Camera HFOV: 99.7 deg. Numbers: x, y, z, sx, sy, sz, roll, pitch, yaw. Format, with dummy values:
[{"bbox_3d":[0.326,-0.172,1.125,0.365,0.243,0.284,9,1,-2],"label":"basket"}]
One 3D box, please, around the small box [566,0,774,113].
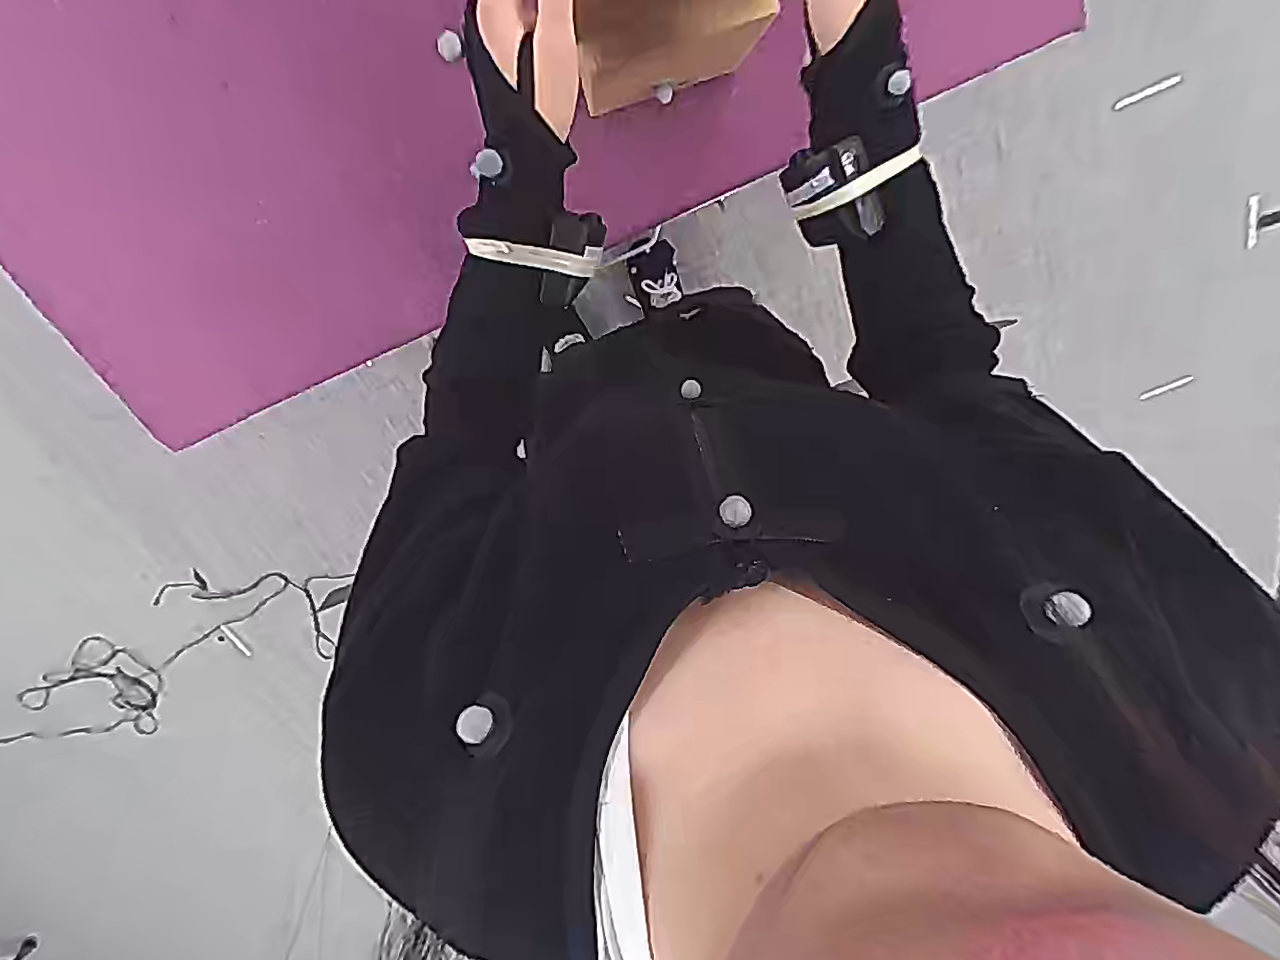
[{"bbox_3d":[0.004,-0.466,0.486,0.168,0.176,0.179,-16,115,2],"label":"small box"}]
